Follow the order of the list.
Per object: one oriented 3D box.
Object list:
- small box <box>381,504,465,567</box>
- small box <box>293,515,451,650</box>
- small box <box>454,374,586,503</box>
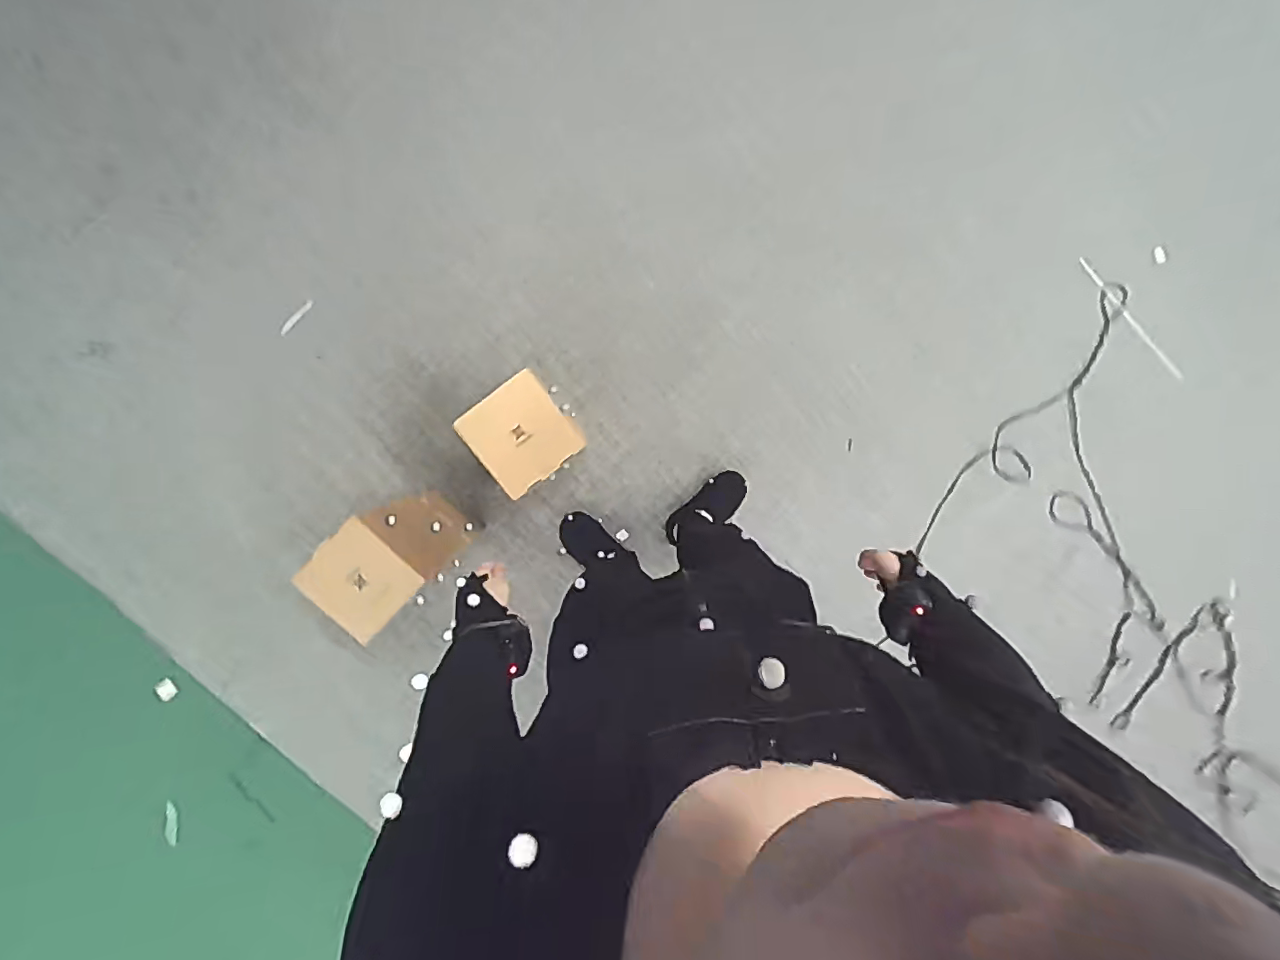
[{"bbox_3d":[-0.515,0.170,1.194,0.179,0.176,0.168,42,90,-7],"label":"small box"},{"bbox_3d":[-0.498,0.183,1.032,0.179,0.176,0.168,43,92,-7],"label":"small box"},{"bbox_3d":[-0.220,-0.076,1.036,0.168,0.176,0.179,-39,97,-1],"label":"small box"}]
